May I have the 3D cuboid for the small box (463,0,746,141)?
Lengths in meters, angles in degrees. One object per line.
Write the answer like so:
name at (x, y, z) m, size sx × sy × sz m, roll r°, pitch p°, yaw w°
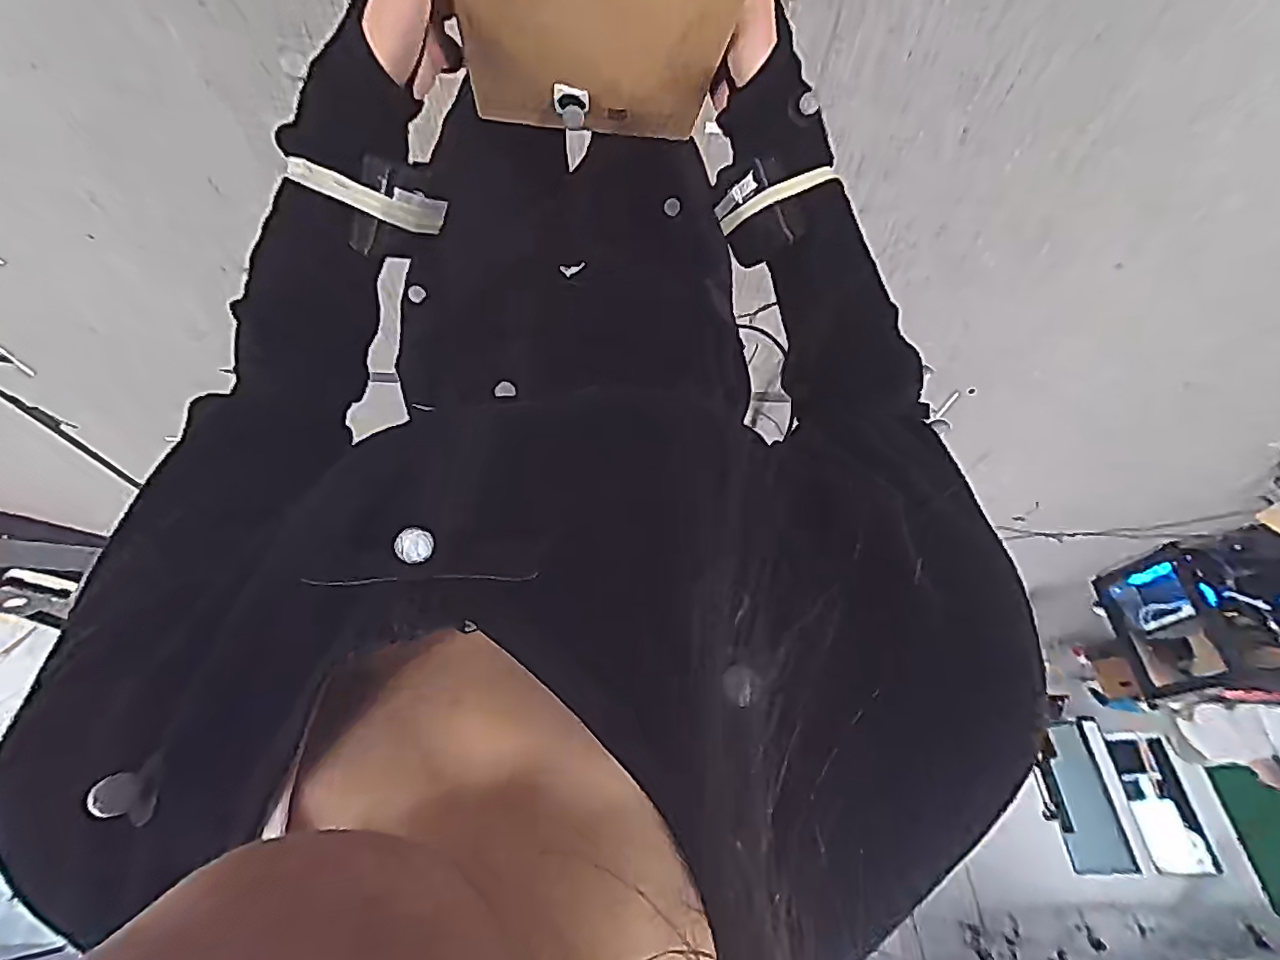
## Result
small box at (-0.029, -0.360, 0.347) m, size 0.168 × 0.179 × 0.176 m, roll -1°, pitch -176°, yaw -8°
